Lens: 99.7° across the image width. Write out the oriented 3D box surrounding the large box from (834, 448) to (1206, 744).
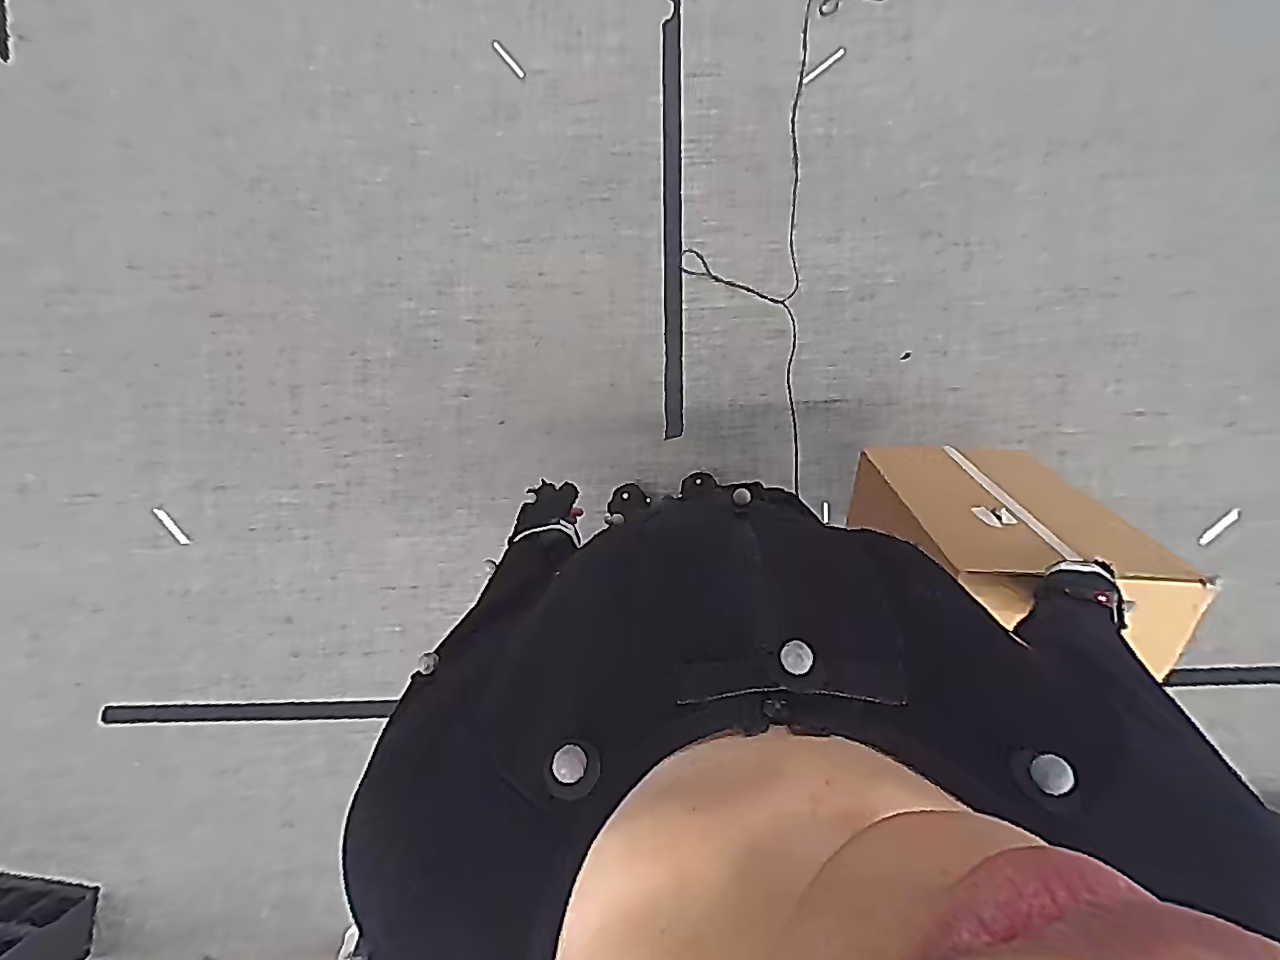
[{"bbox_3d":[0.567,0.171,0.928,0.320,0.408,0.320,2,118,2],"label":"large box"}]
